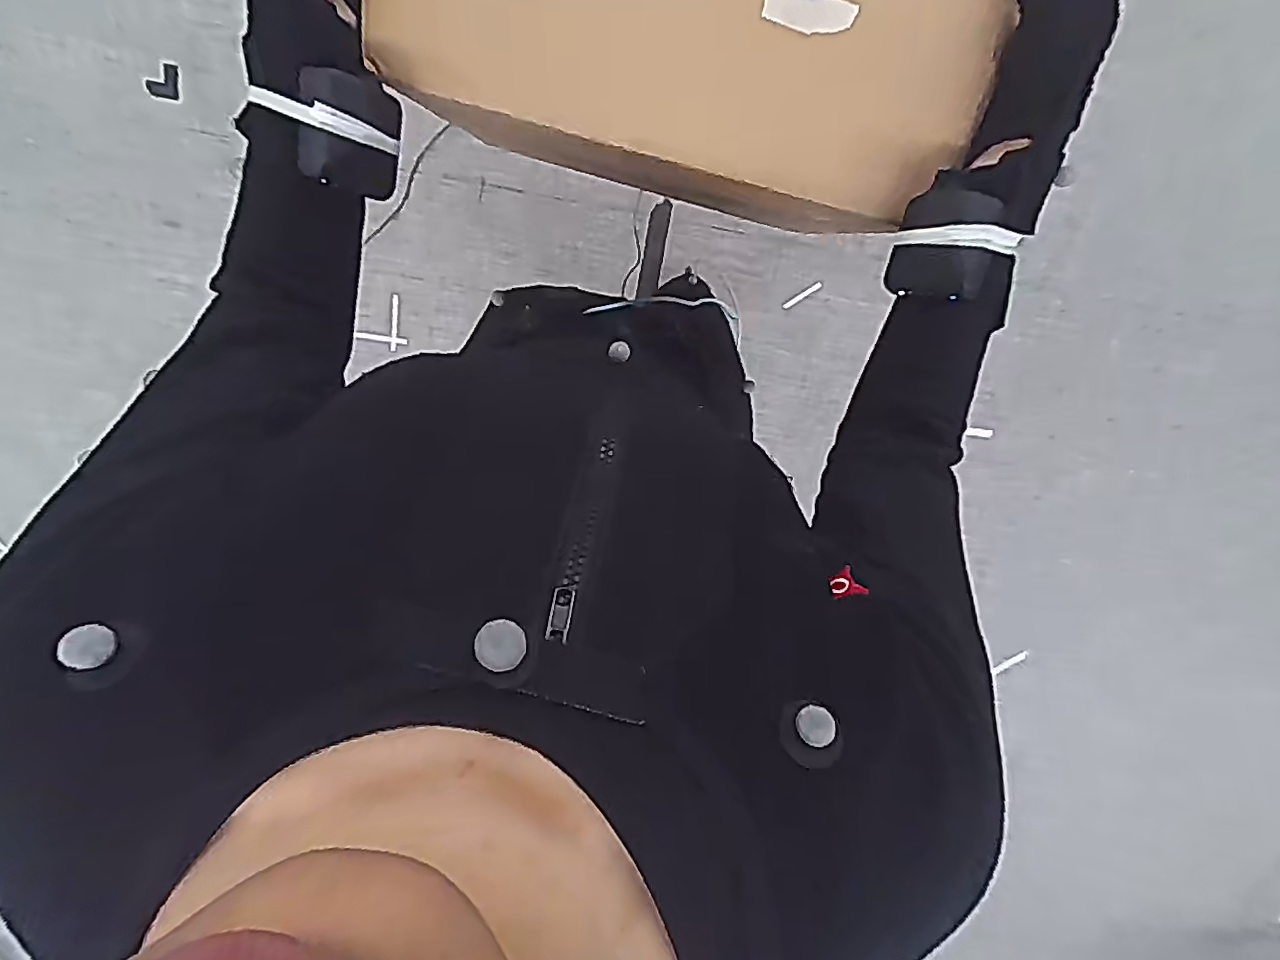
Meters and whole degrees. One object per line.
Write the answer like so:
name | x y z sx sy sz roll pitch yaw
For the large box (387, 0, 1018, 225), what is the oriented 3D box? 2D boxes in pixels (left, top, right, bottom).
large box | 0.051 -0.426 0.455 0.408 0.320 0.320 11 115 -7
